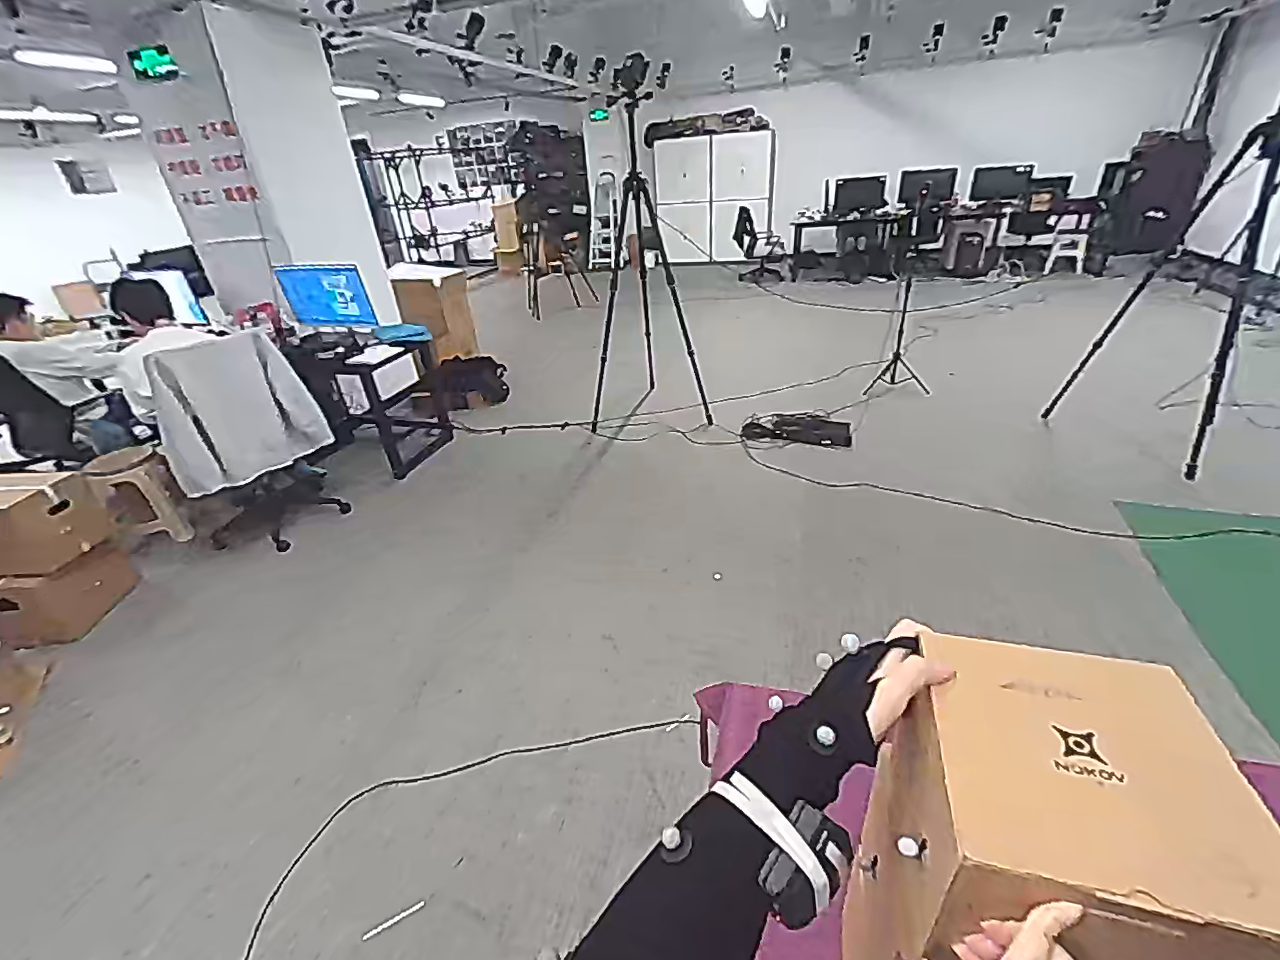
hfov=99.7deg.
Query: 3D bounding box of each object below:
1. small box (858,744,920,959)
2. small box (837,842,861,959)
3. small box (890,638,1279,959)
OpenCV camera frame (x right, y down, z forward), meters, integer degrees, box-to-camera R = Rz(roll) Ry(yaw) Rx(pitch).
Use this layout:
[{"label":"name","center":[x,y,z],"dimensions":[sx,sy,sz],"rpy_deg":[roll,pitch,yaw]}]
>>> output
[{"label":"small box","center":[0.291,0.377,0.473],"dimensions":[0.168,0.176,0.179],"rpy_deg":[6,31,17]},{"label":"small box","center":[0.296,0.523,0.550],"dimensions":[0.168,0.176,0.179],"rpy_deg":[6,33,16]},{"label":"small box","center":[0.281,0.245,0.376],"dimensions":[0.168,0.176,0.179],"rpy_deg":[6,31,16]}]
